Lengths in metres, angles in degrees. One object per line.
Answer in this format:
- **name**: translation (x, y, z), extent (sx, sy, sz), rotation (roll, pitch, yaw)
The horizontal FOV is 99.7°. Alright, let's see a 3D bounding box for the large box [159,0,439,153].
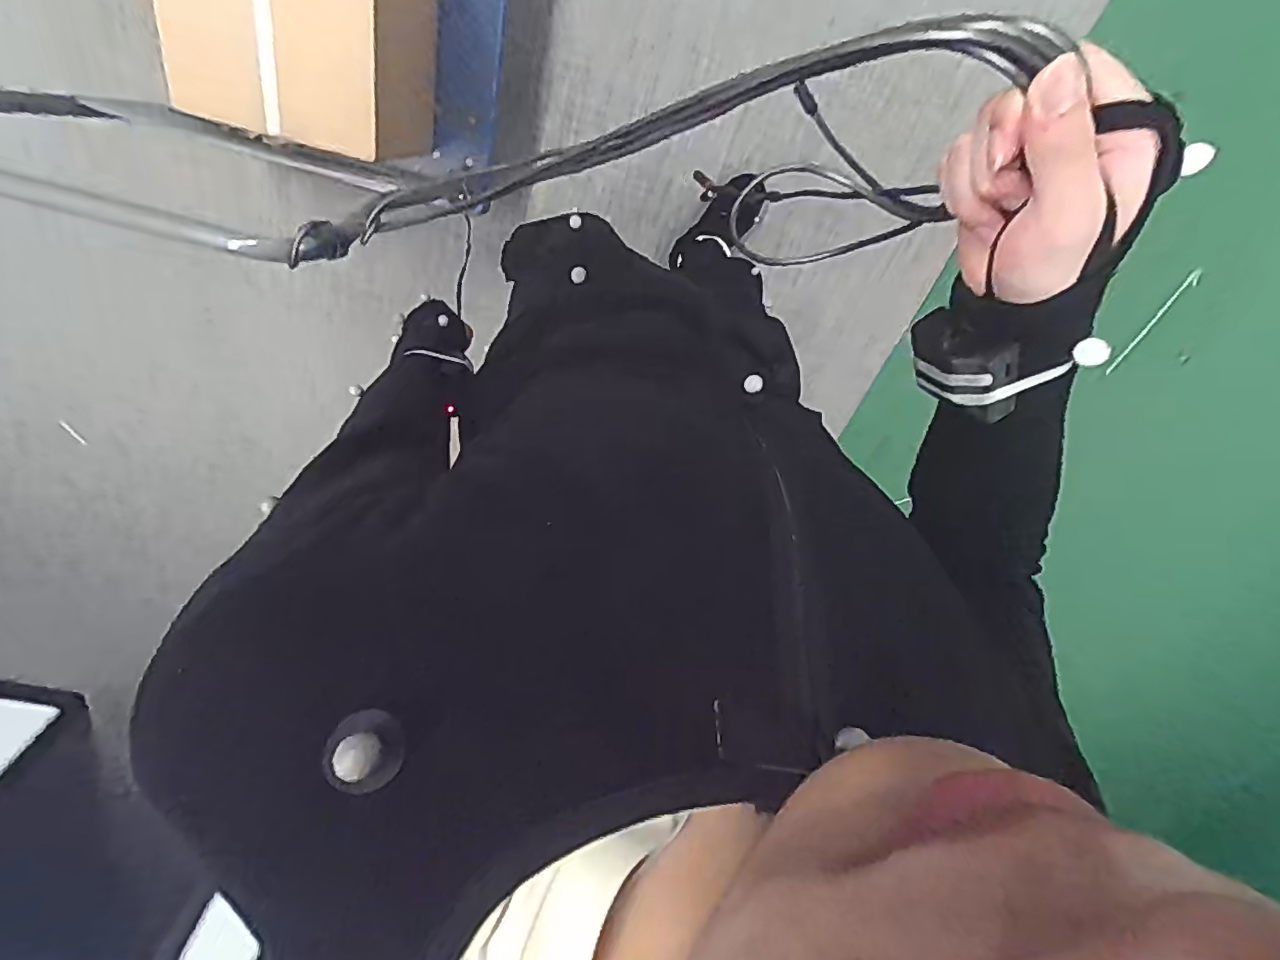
- **large box**: translation (-0.533, -0.802, 0.891), extent (0.320, 0.320, 0.408), rotation (11, 122, -8)
